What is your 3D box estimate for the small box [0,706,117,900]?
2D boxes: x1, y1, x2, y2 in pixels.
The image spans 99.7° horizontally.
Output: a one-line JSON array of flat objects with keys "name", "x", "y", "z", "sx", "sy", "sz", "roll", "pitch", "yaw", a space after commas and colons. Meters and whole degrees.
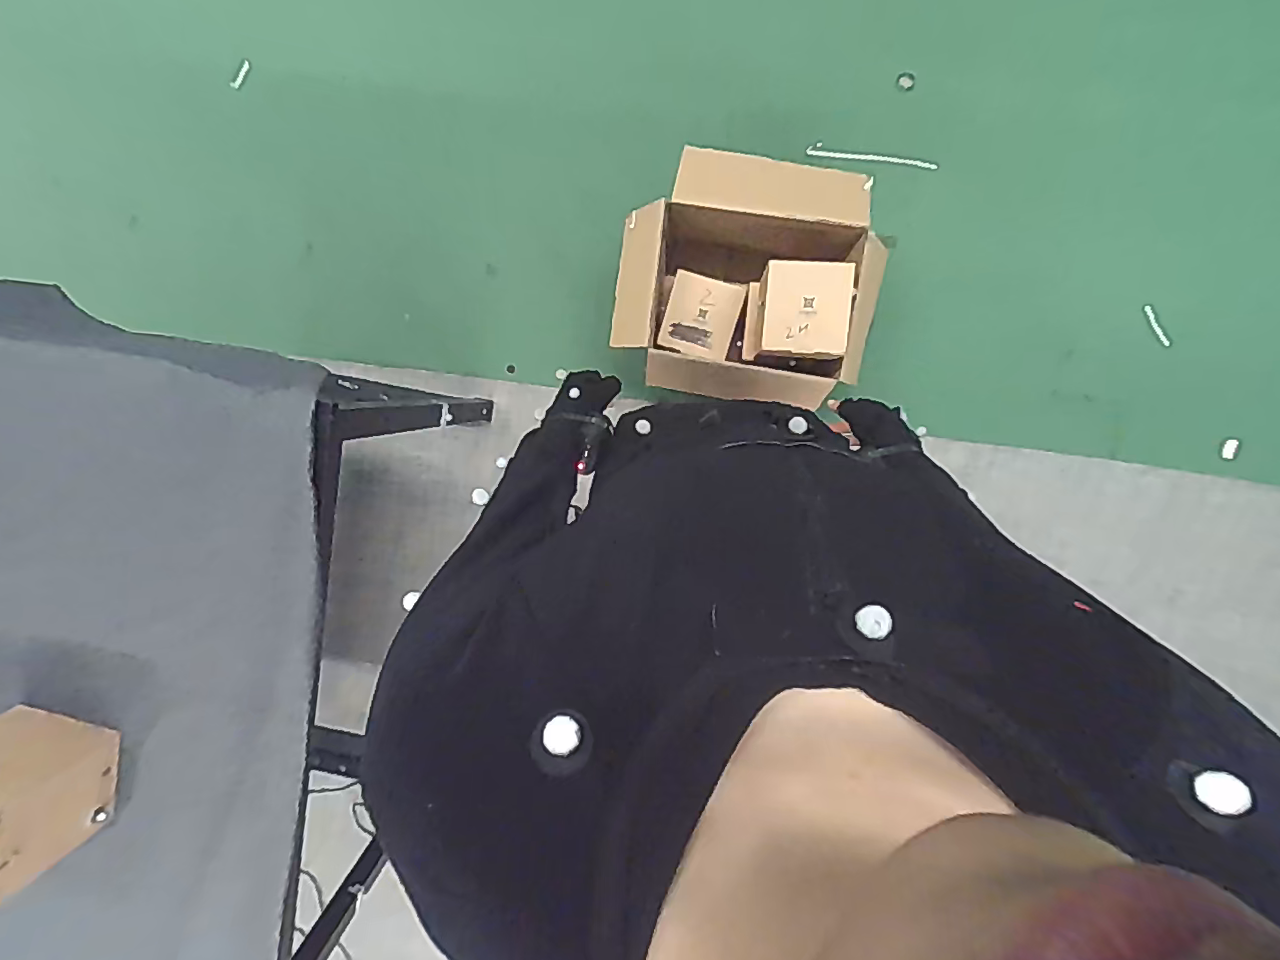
[{"name": "small box", "x": -0.935, "y": 0.465, "z": 0.798, "sx": 0.179, "sy": 0.176, "sz": 0.168, "roll": 14, "pitch": 100, "yaw": 2}]
